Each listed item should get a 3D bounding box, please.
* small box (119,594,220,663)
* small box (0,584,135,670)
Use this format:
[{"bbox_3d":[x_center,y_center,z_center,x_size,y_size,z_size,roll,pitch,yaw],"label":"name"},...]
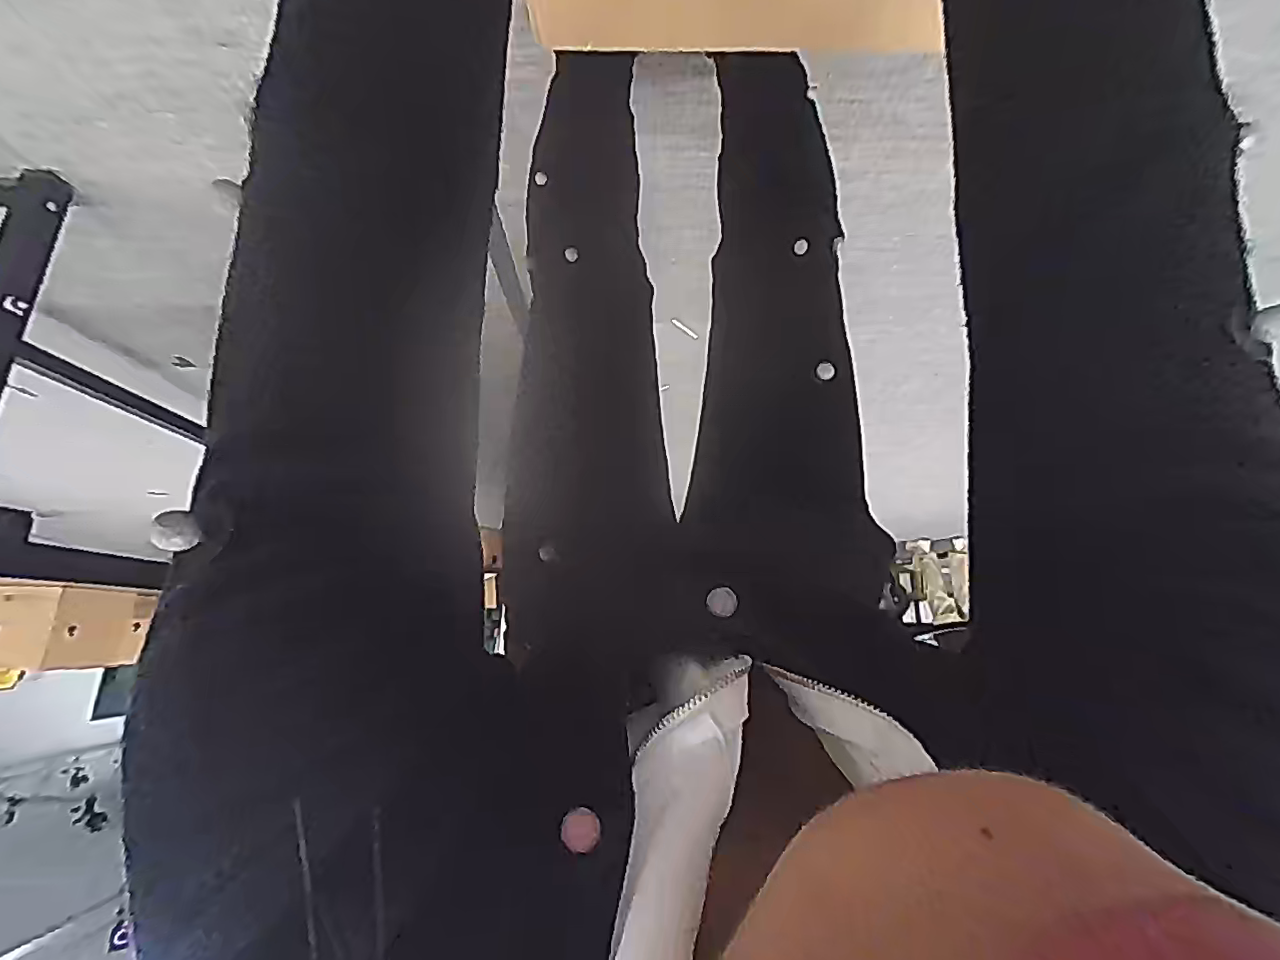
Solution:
[{"bbox_3d":[-1.267,0.392,1.432,0.168,0.176,0.179,1,164,-1],"label":"small box"},{"bbox_3d":[-1.263,0.316,1.169,0.168,0.176,0.179,2,165,1],"label":"small box"}]
